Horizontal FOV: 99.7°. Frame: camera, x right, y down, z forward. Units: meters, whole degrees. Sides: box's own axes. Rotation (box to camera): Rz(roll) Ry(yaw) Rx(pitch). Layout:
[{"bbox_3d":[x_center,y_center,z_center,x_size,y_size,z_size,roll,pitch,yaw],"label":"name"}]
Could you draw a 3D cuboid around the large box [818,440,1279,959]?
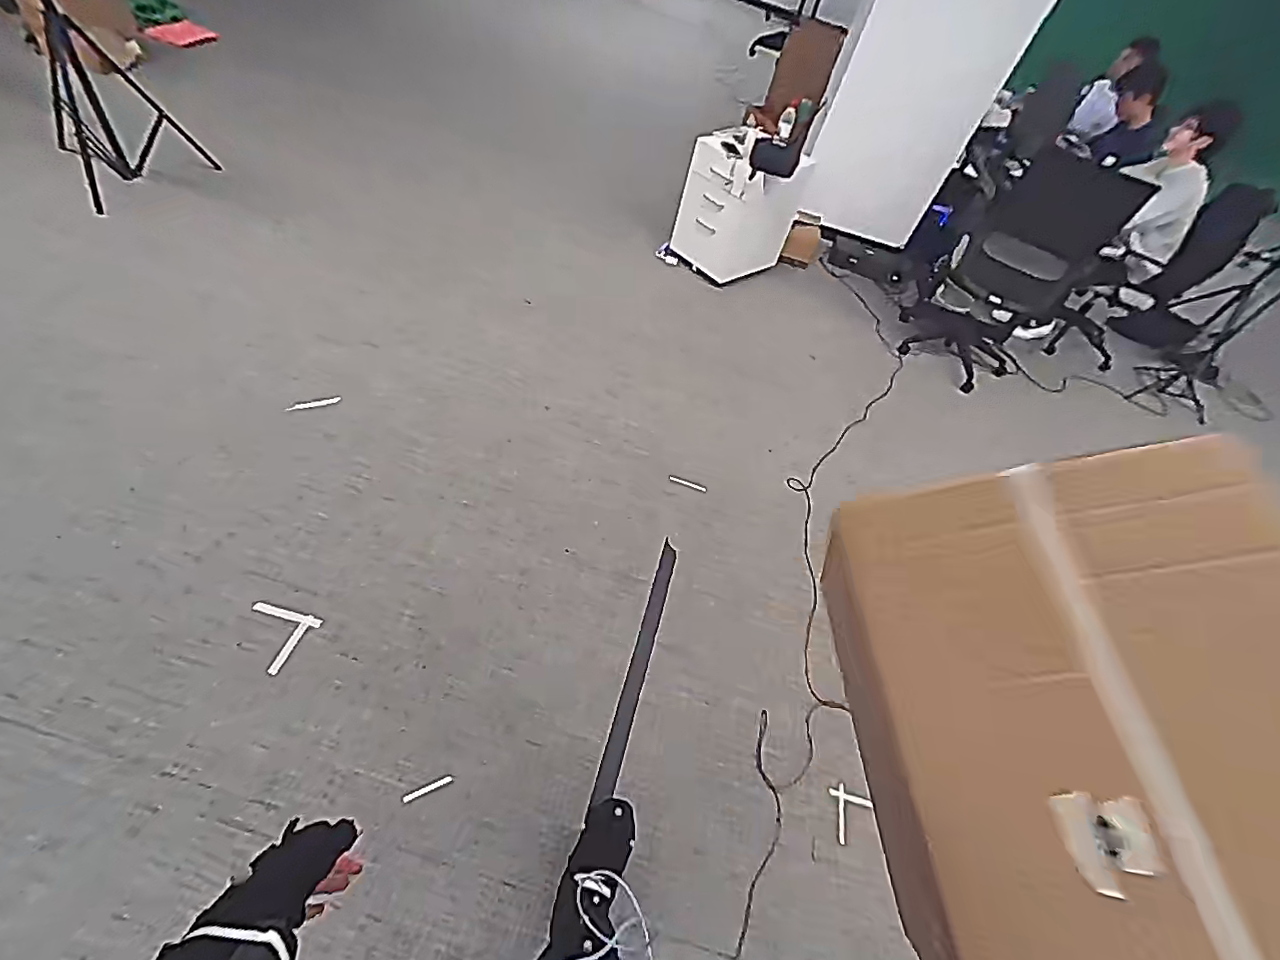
[{"bbox_3d":[0.382,0.223,0.523,0.320,0.320,0.408,-10,69,11],"label":"large box"}]
